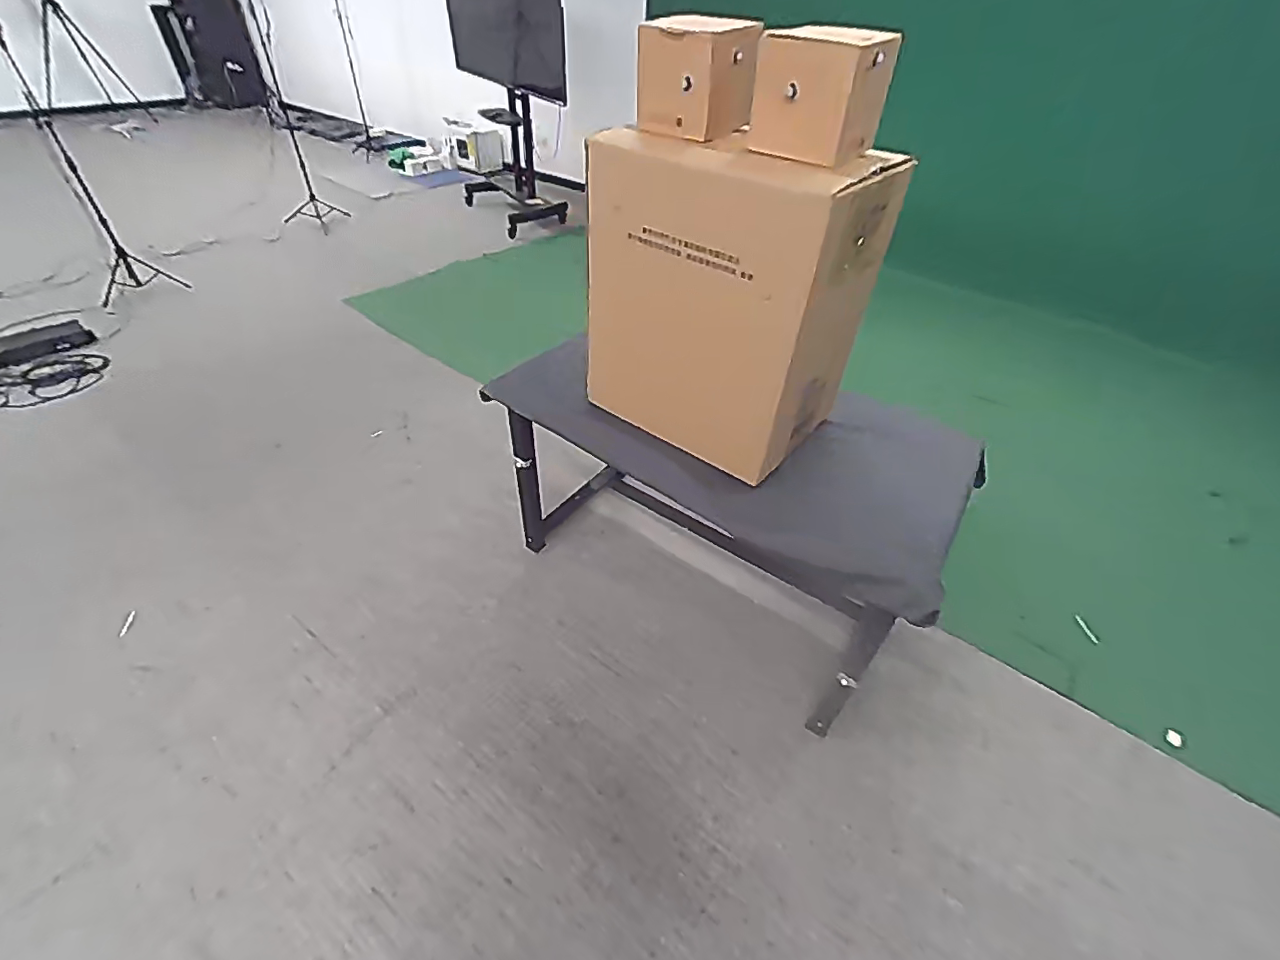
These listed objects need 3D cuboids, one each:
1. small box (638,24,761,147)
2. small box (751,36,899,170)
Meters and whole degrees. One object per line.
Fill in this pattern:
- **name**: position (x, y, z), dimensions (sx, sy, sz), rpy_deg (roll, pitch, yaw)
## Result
- **small box**: position (0.112, -0.773, 1.061), dimensions (0.168, 0.176, 0.179), rpy_deg (30, 51, 25)
- **small box**: position (0.313, -0.661, 0.948), dimensions (0.179, 0.176, 0.168), rpy_deg (30, 52, 27)
